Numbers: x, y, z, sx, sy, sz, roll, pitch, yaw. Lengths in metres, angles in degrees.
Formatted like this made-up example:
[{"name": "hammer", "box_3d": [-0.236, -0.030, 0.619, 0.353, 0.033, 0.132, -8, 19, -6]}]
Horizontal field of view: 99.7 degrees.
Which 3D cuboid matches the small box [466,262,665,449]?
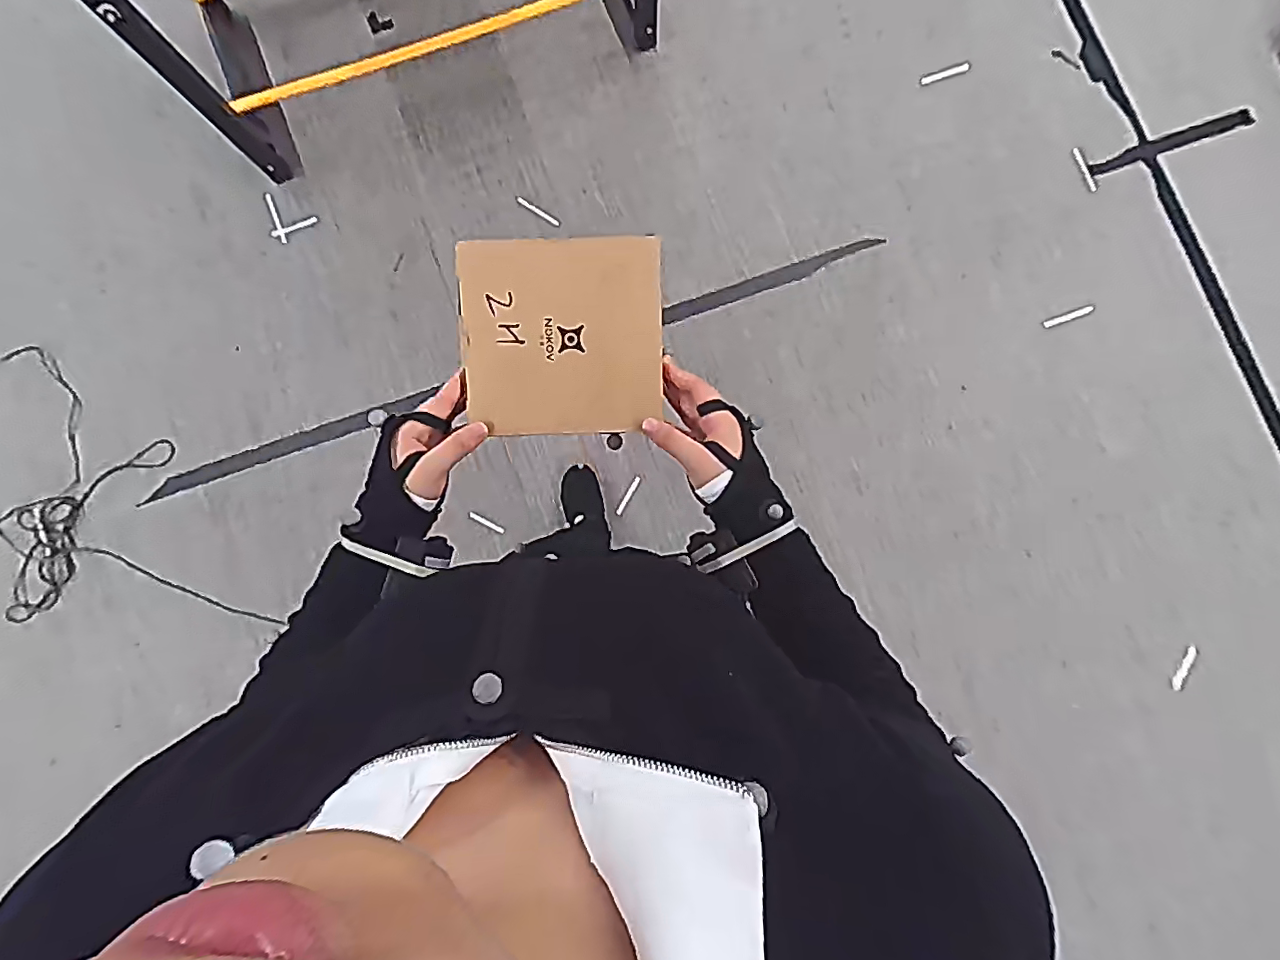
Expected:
[{"name": "small box", "box_3d": [-0.067, -0.121, 0.562, 0.179, 0.176, 0.168, -1, 97, 0]}]
